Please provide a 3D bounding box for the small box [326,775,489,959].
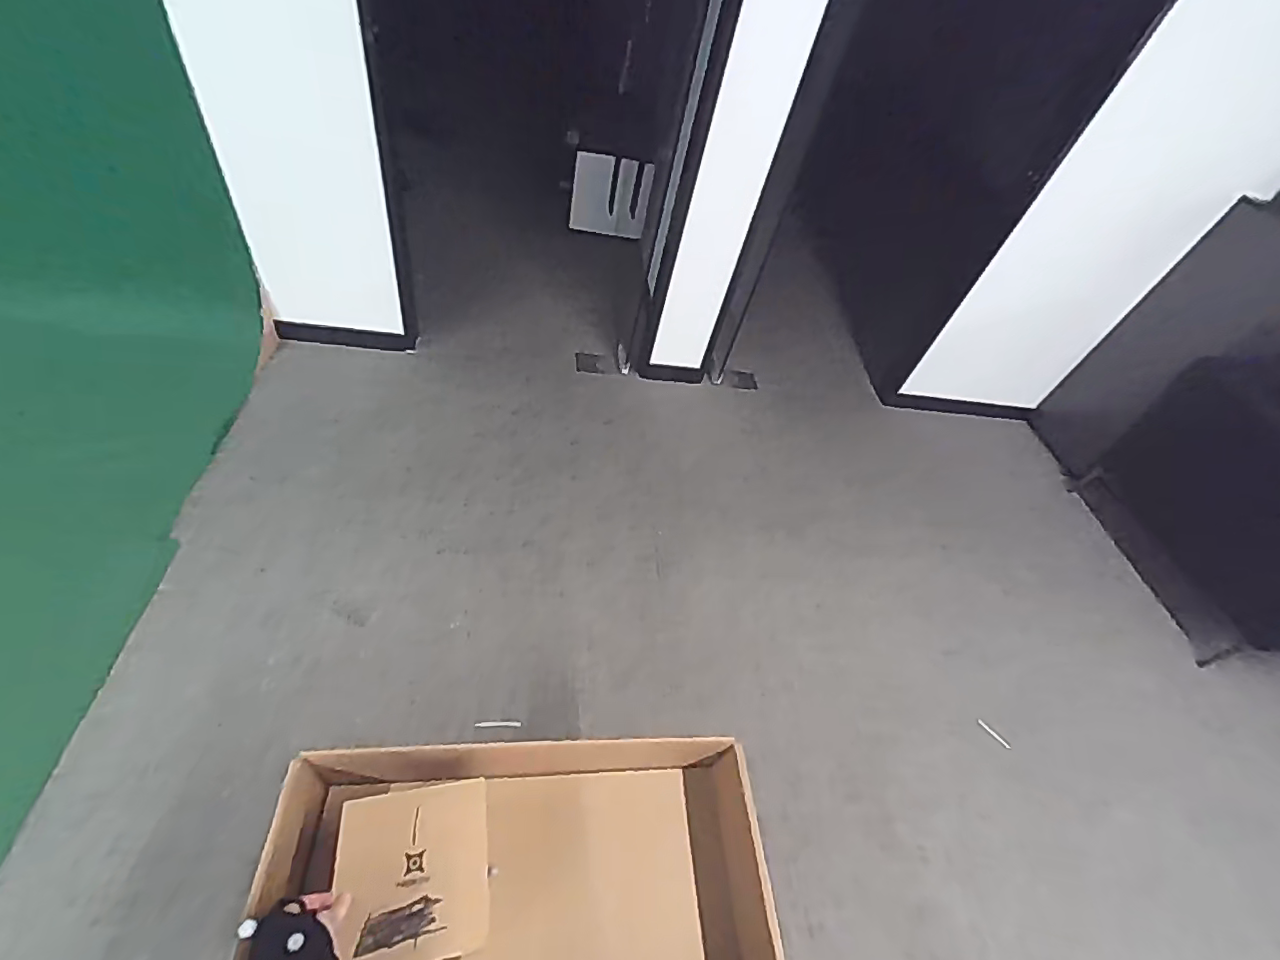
[{"bbox_3d":[-0.276,0.498,0.677,0.168,0.176,0.179,-1,49,-18],"label":"small box"}]
